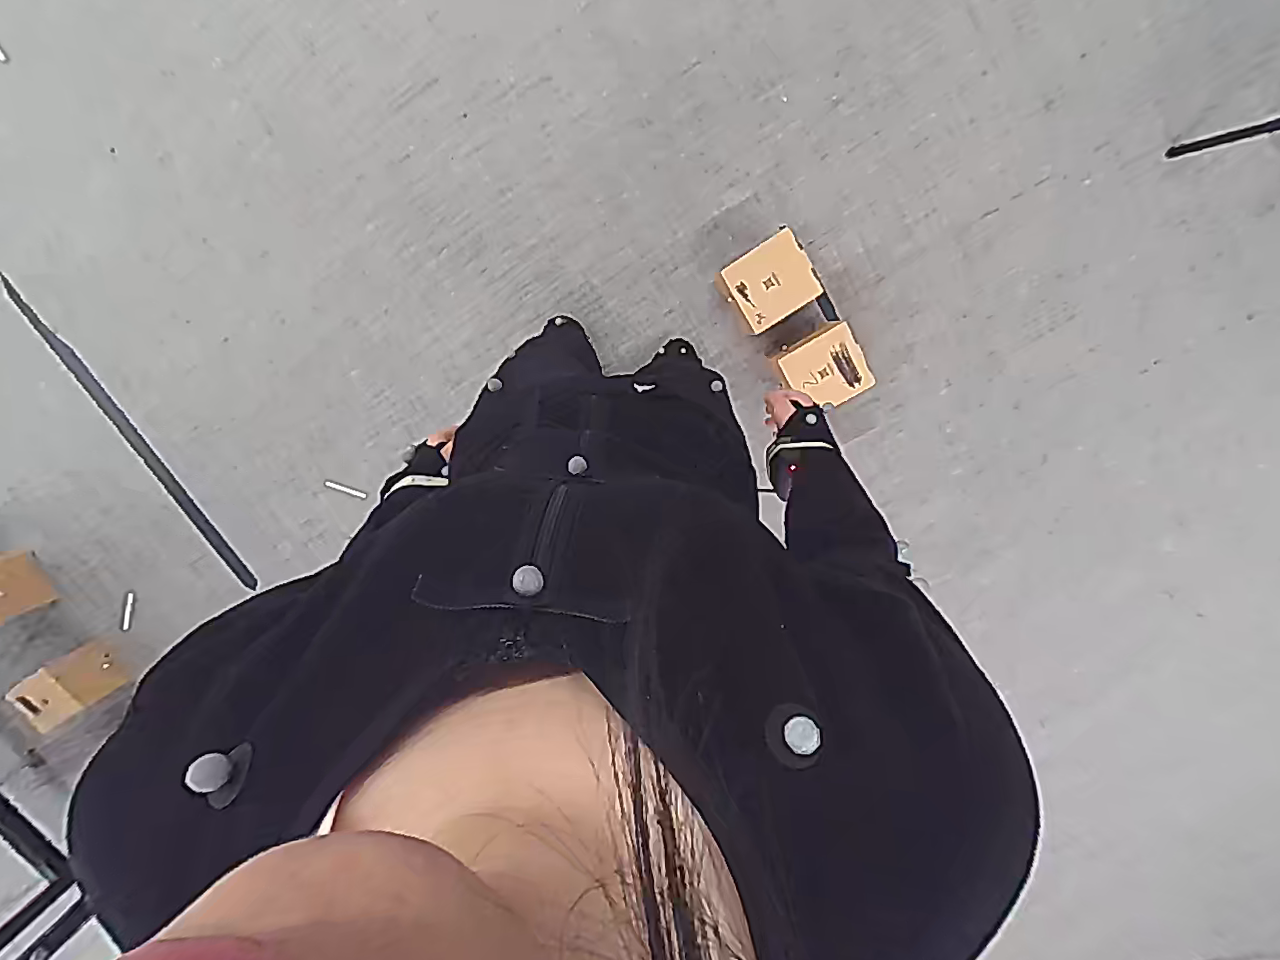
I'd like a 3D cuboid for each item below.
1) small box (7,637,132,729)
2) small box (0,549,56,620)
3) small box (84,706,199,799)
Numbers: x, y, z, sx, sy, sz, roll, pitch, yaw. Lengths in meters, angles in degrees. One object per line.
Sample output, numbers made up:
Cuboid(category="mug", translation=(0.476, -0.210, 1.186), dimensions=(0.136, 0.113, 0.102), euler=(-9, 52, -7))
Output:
Cuboid(category="small box", translation=(-1.757, 0.622, 1.675), dimensions=(0.179, 0.176, 0.168), euler=(-30, 102, 9))
Cuboid(category="small box", translation=(-1.925, 0.316, 1.603), dimensions=(0.168, 0.176, 0.179), euler=(-13, 105, 6))
Cuboid(category="small box", translation=(-1.586, 0.867, 1.734), dimensions=(0.168, 0.176, 0.179), euler=(-28, 103, 9))
